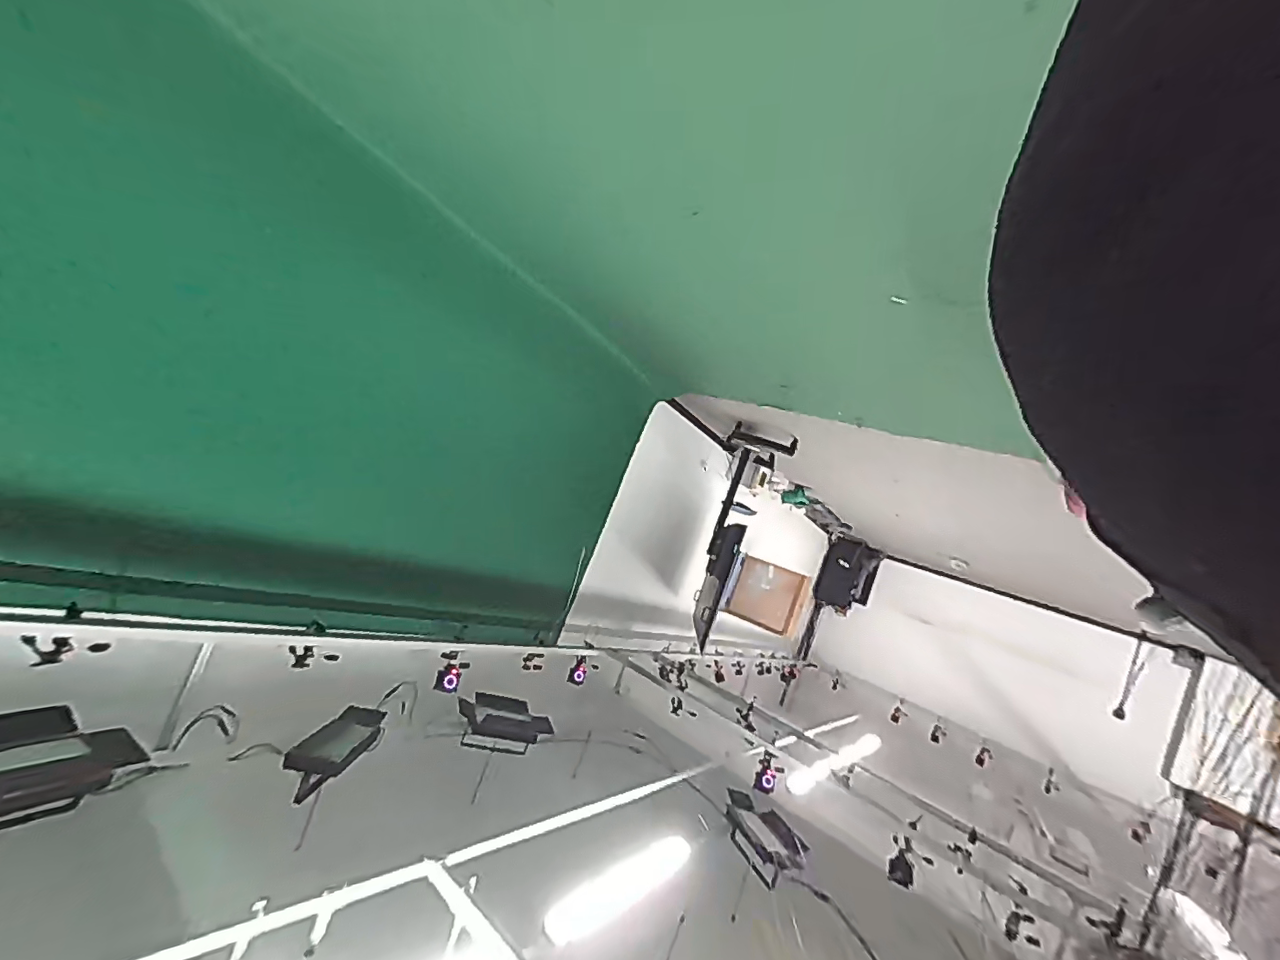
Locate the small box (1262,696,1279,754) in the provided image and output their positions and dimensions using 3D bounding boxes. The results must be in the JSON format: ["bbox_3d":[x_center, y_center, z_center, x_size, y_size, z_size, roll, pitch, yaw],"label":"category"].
[{"bbox_3d":[1.731,0.641,1.345,0.179,0.176,0.168,19,173,34],"label":"small box"}]
